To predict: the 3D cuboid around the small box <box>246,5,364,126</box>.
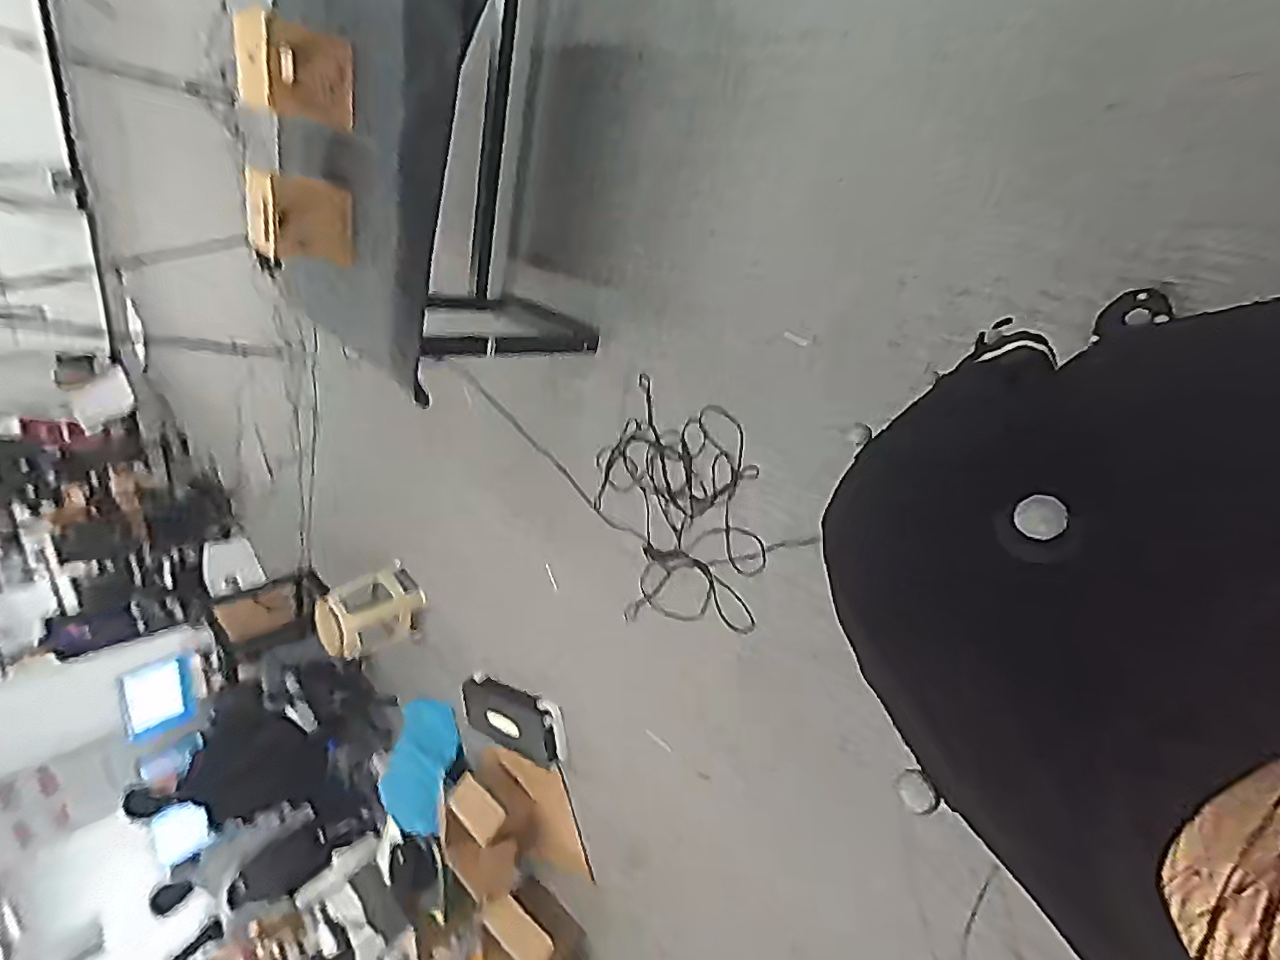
[{"bbox_3d":[-0.724,-0.890,1.172,0.179,0.176,0.168,31,119,31],"label":"small box"}]
